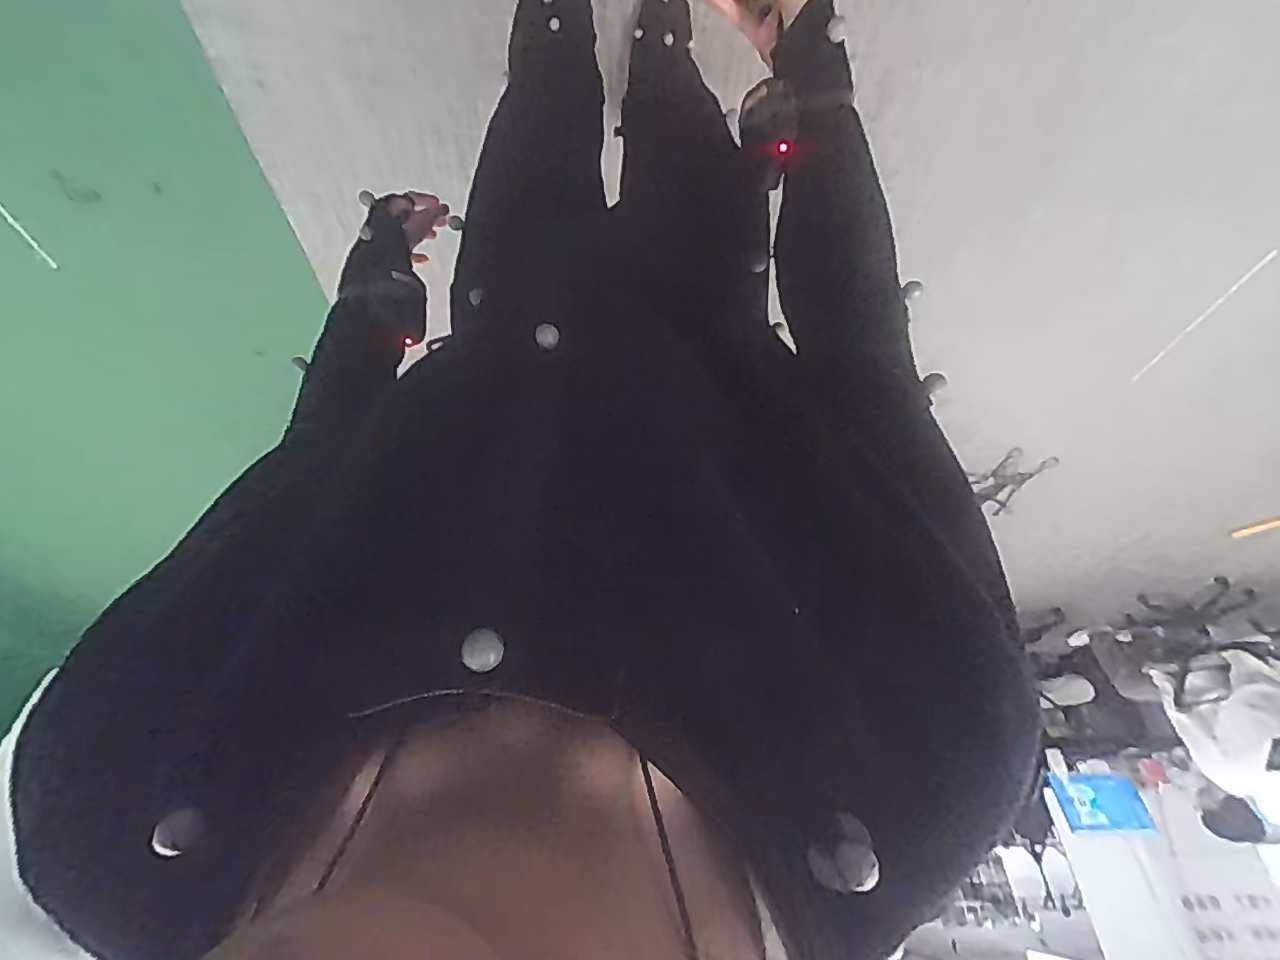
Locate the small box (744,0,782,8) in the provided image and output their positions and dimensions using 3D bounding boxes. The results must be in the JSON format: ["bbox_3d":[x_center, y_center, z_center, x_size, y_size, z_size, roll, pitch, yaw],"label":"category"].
[{"bbox_3d":[0.041,-0.508,0.417,0.168,0.176,0.179,-1,133,-21],"label":"small box"}]

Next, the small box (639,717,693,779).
[{"bbox_3d":[0.084,0.902,1.817,0.168,0.176,0.179,0,146,-2],"label":"small box"}]
